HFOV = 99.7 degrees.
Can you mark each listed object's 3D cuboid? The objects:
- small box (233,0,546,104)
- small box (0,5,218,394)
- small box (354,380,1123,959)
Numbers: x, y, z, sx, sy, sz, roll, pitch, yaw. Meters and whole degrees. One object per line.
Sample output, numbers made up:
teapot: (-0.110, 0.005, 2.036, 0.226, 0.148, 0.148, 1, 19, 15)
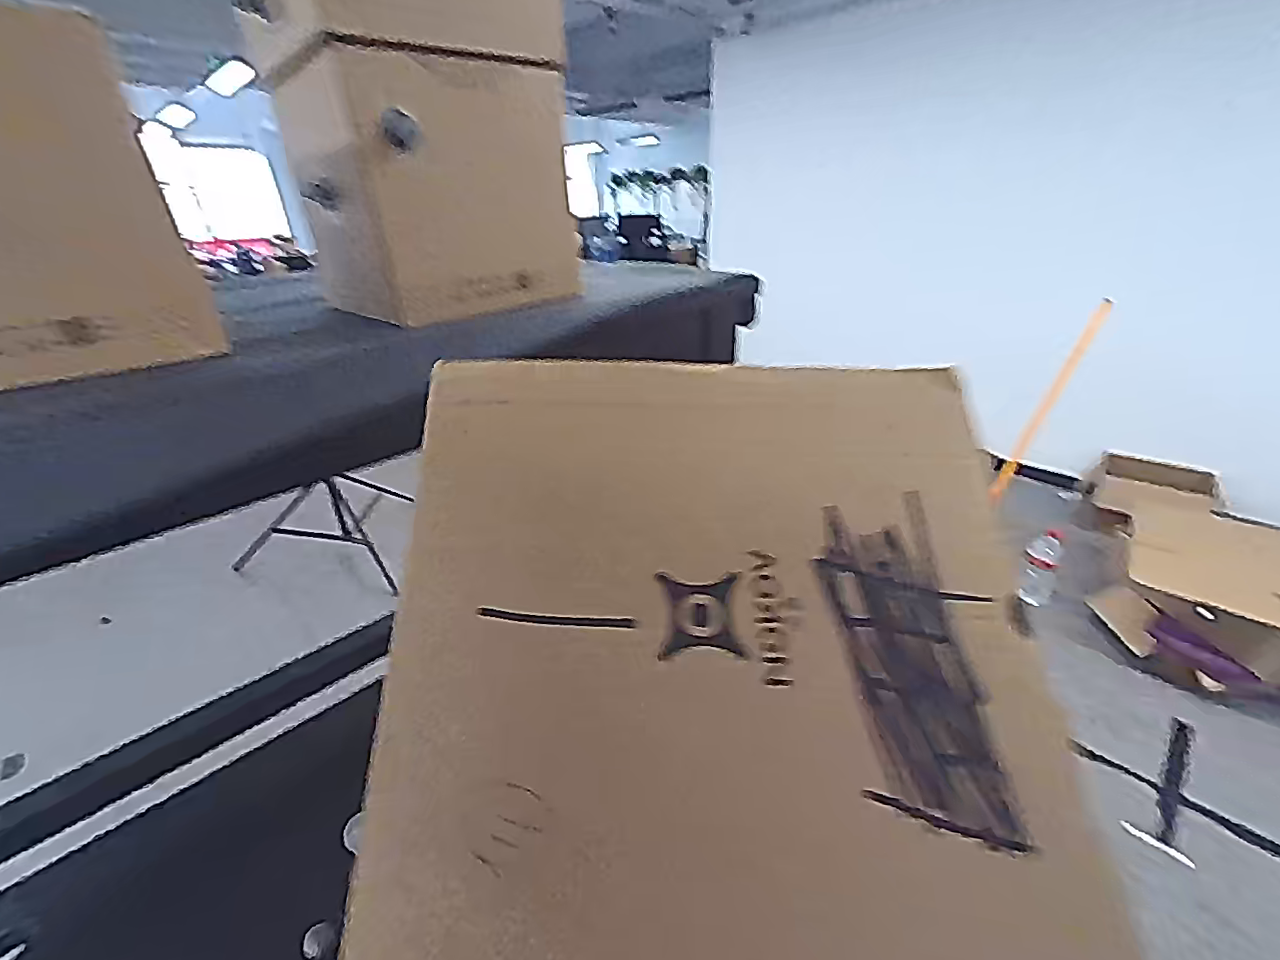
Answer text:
small box: (-0.180, -0.374, 0.372, 0.179, 0.176, 0.168, -27, 34, -36)
small box: (-0.372, -0.144, 0.304, 0.168, 0.176, 0.179, -24, 33, -35)
small box: (0.019, 0.077, 0.222, 0.179, 0.176, 0.168, 0, 64, -3)
